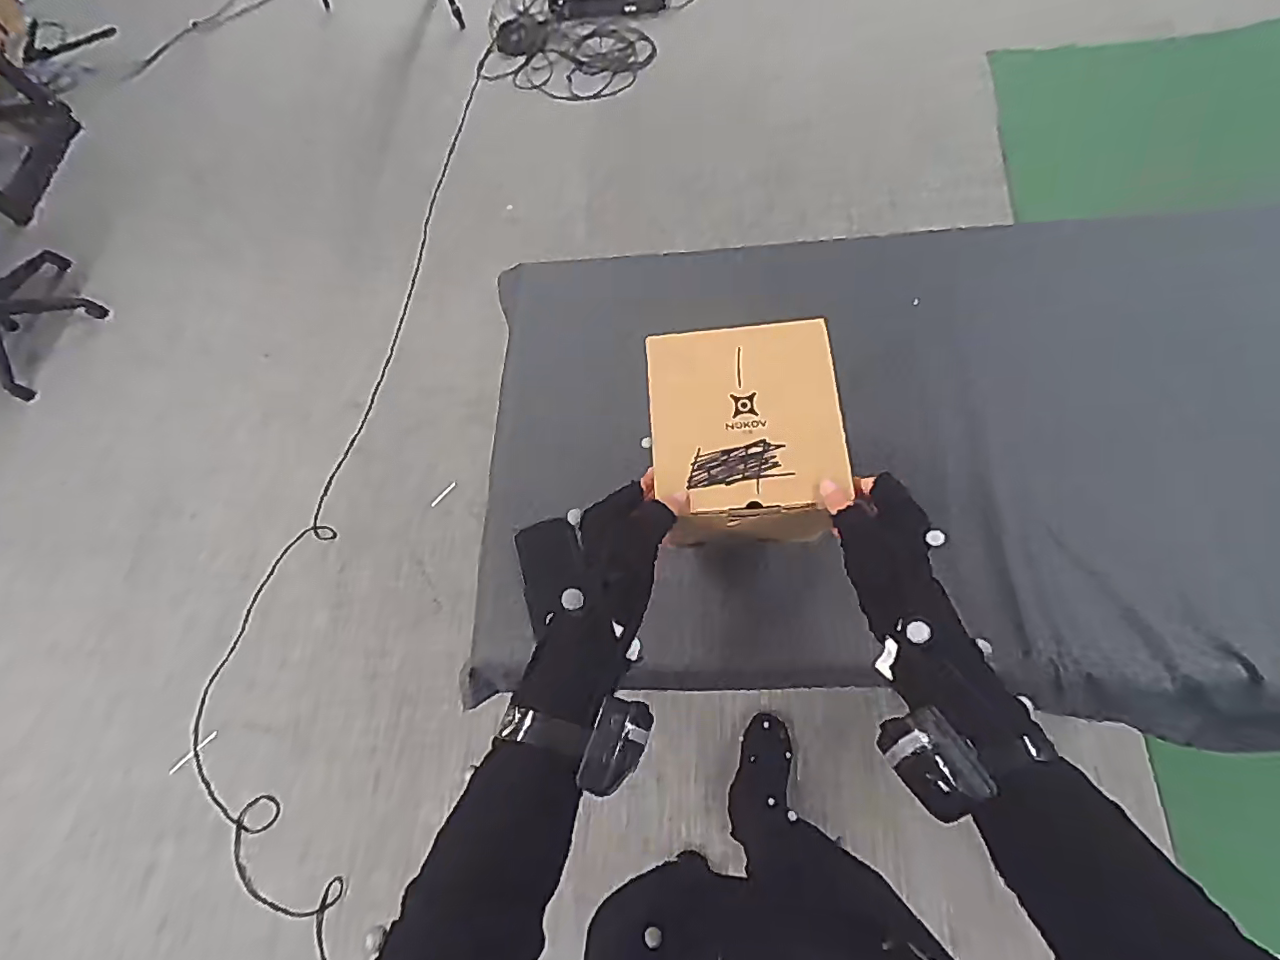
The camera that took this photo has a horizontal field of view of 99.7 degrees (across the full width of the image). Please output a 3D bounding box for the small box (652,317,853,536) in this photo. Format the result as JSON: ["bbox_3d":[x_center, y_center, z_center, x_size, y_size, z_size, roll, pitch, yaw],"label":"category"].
[{"bbox_3d":[0.104,-0.040,0.559,0.168,0.176,0.179,-5,73,5],"label":"small box"}]
